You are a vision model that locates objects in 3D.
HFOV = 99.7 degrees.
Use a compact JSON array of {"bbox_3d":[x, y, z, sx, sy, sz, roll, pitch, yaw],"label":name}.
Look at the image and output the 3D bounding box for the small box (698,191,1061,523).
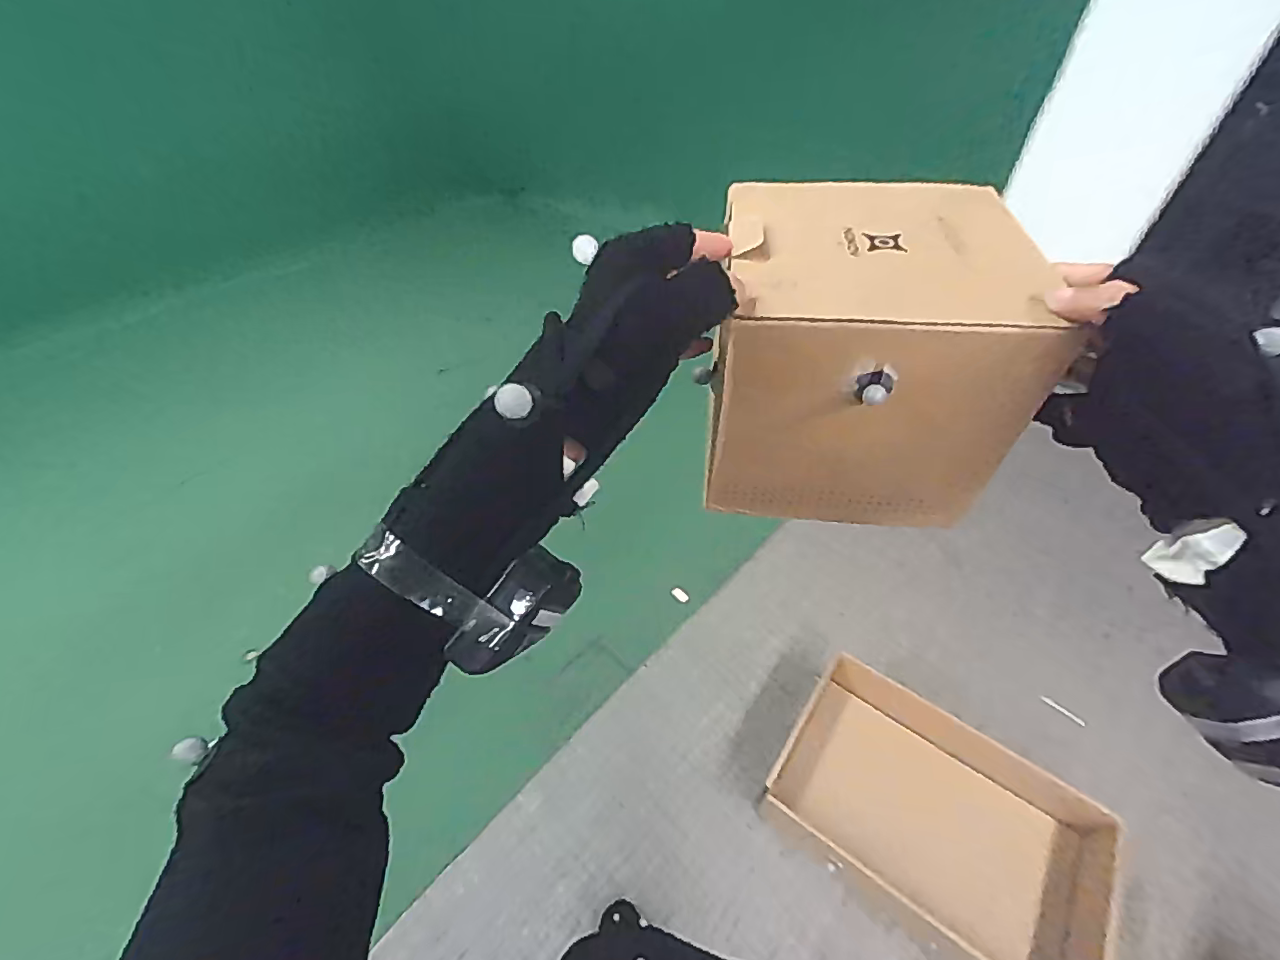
[{"bbox_3d":[0.134,-0.084,0.386,0.179,0.176,0.168,4,50,4],"label":"small box"}]
